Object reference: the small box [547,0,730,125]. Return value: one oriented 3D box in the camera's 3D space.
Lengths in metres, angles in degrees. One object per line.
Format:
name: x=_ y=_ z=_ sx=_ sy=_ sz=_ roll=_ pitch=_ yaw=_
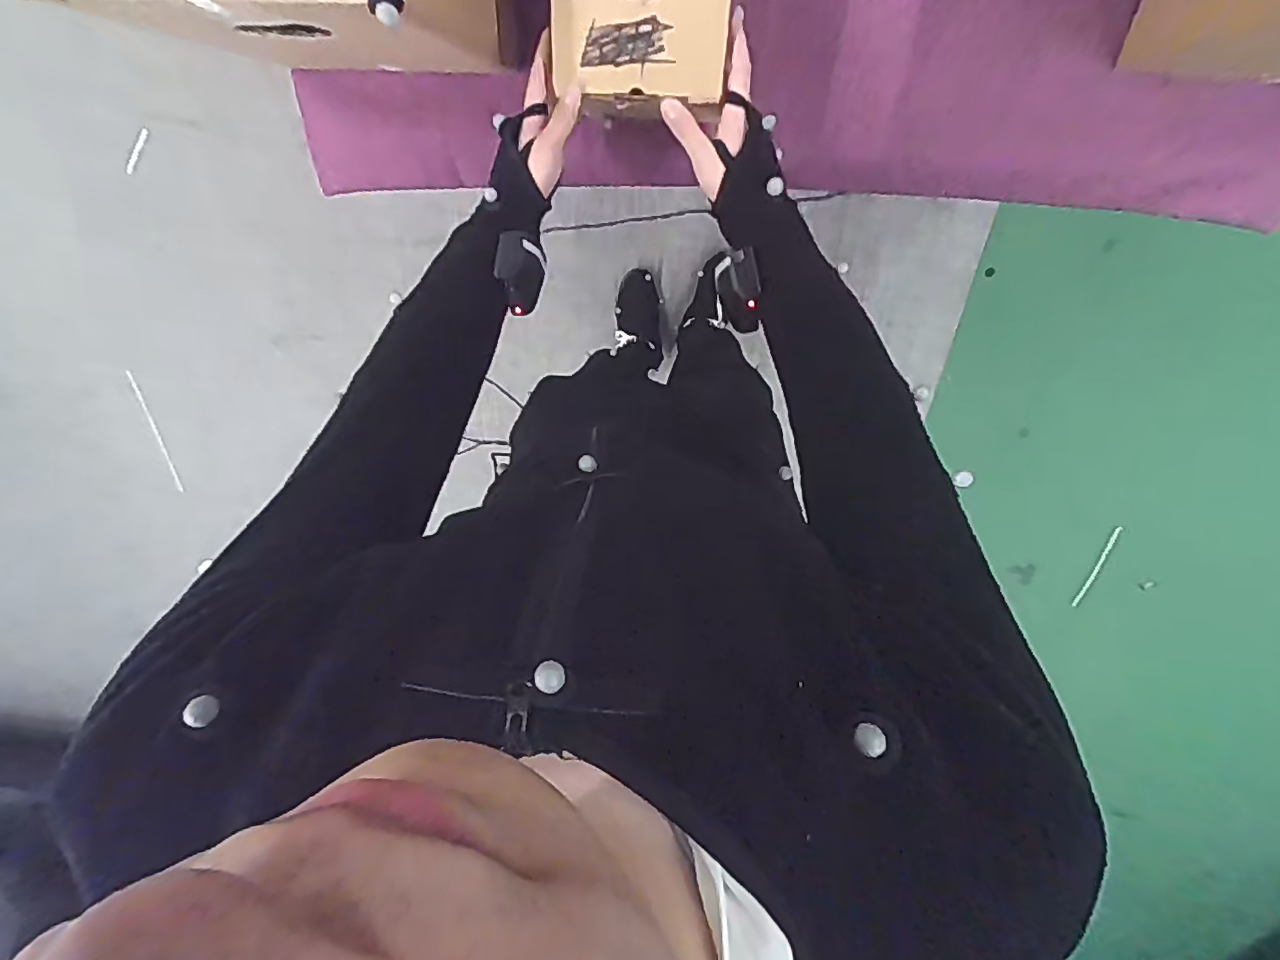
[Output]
small box: x=0.006 y=-0.476 z=0.552 sx=0.168 sy=0.176 sz=0.179 roll=5 pitch=117 yaw=4
